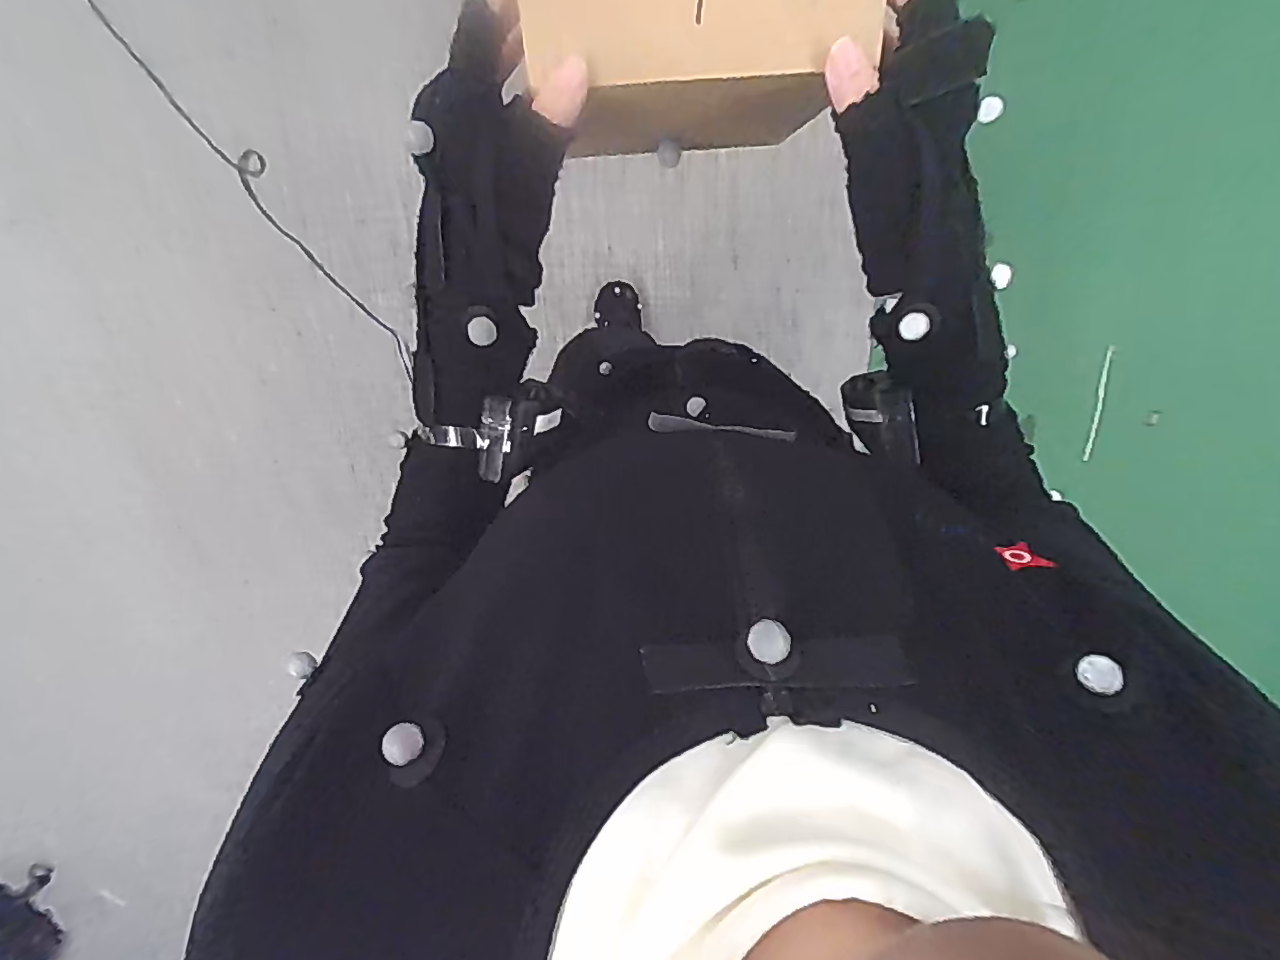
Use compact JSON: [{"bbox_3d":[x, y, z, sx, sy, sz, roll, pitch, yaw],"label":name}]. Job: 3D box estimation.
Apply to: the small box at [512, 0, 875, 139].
[{"bbox_3d":[0.018,-0.304,0.290,0.168,0.176,0.179,-3,113,-1],"label":"small box"}]
